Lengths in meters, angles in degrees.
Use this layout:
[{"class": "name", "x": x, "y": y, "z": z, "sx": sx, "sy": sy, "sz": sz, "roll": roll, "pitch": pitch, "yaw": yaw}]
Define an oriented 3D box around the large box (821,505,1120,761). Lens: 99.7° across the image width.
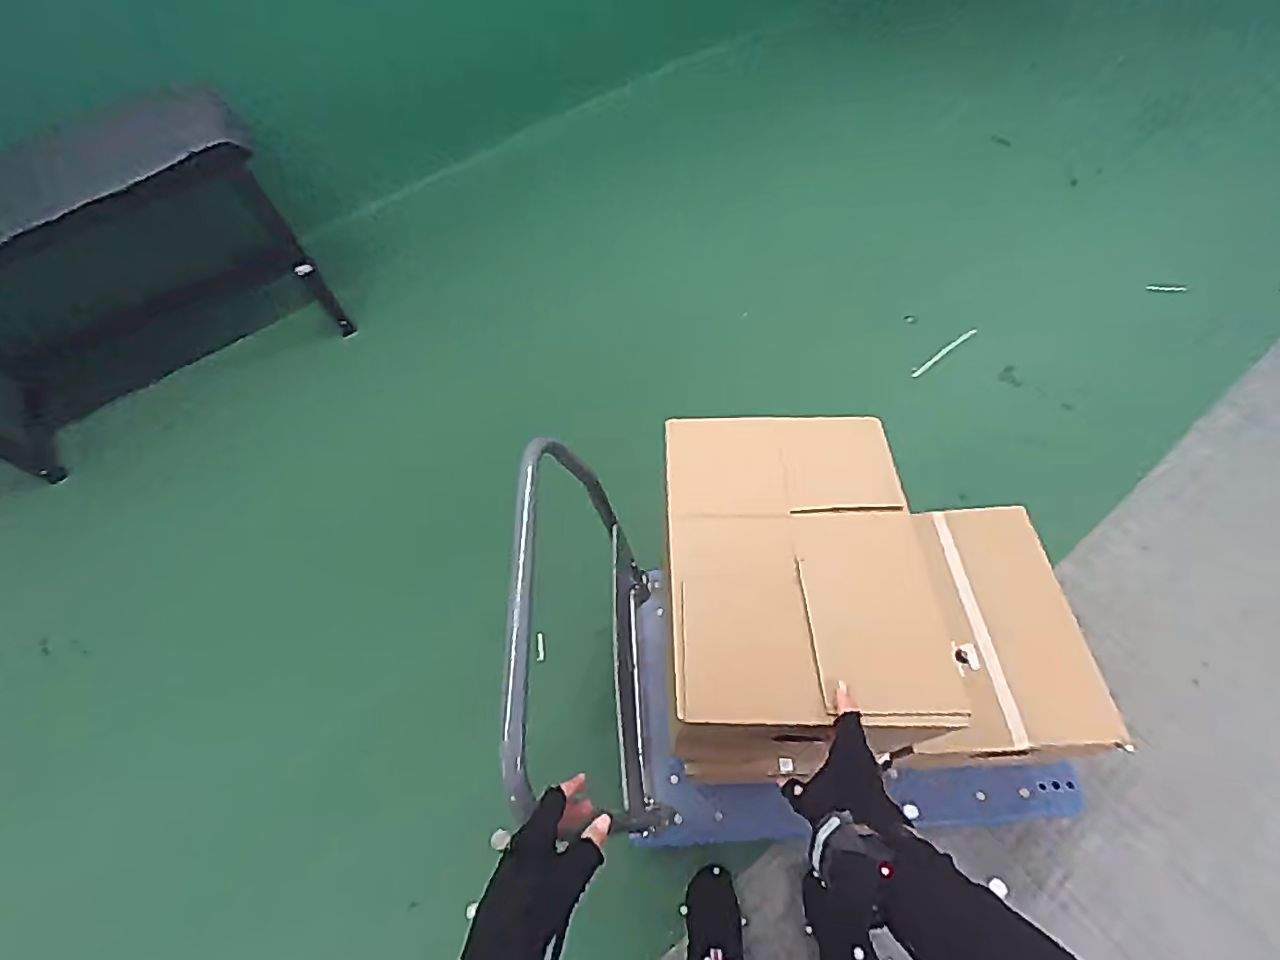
[{"class": "large box", "x": 0.569, "y": 0.302, "z": 1.039, "sx": 0.320, "sy": 0.320, "sz": 0.408, "roll": -5, "pitch": 59, "yaw": 5}]
